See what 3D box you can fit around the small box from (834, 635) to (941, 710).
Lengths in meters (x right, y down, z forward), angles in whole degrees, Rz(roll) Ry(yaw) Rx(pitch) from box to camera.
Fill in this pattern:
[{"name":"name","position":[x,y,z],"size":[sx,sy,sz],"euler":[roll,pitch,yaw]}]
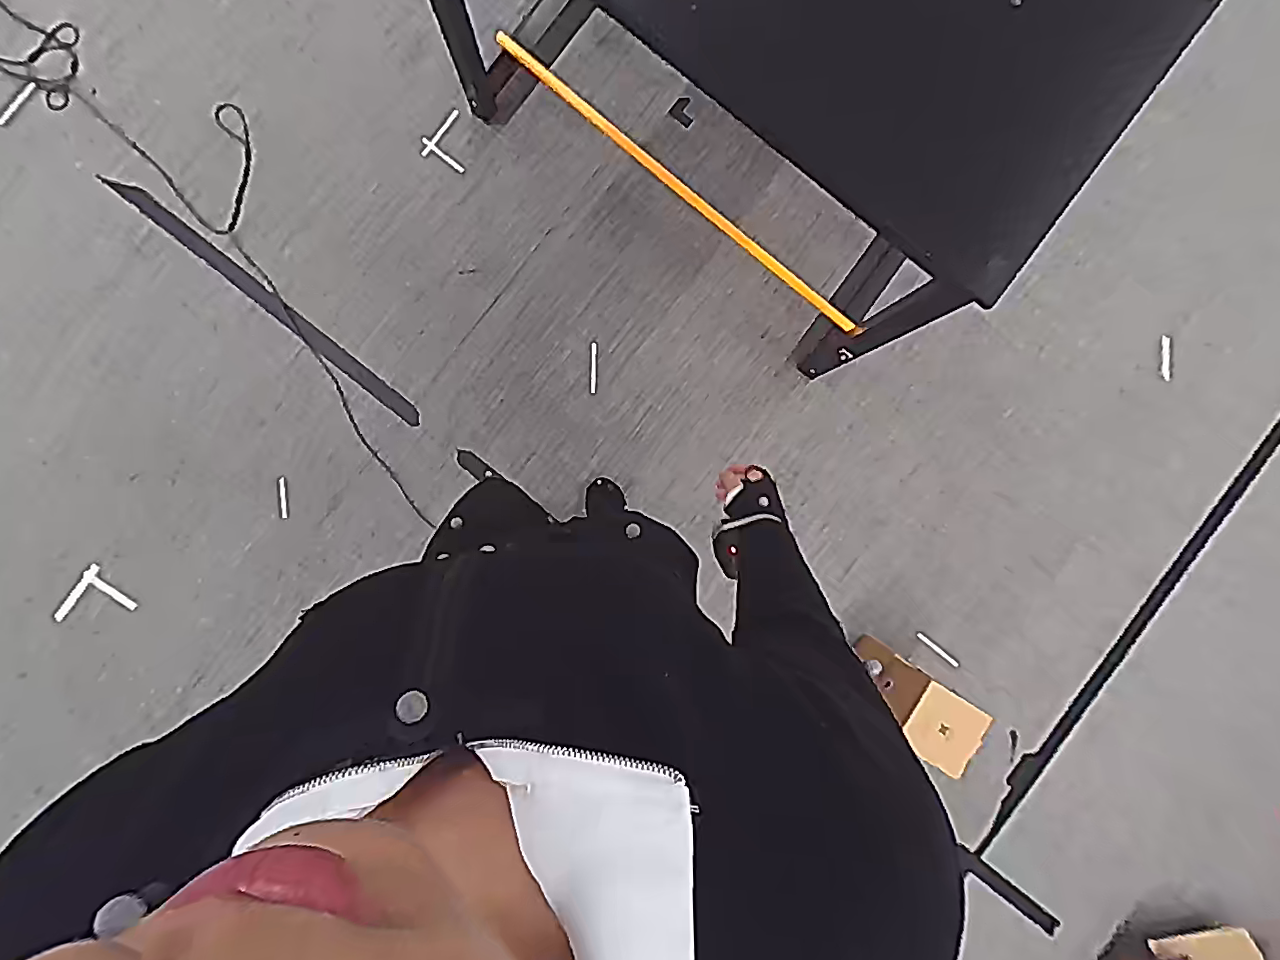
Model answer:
[{"name":"small box","position":[0.660,0.551,1.465],"size":[0.168,0.176,0.179],"euler":[35,89,-3]}]

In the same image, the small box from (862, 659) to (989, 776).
[{"name":"small box","position":[0.678,0.560,1.303],"size":[0.179,0.176,0.168],"euler":[31,88,-2]}]
